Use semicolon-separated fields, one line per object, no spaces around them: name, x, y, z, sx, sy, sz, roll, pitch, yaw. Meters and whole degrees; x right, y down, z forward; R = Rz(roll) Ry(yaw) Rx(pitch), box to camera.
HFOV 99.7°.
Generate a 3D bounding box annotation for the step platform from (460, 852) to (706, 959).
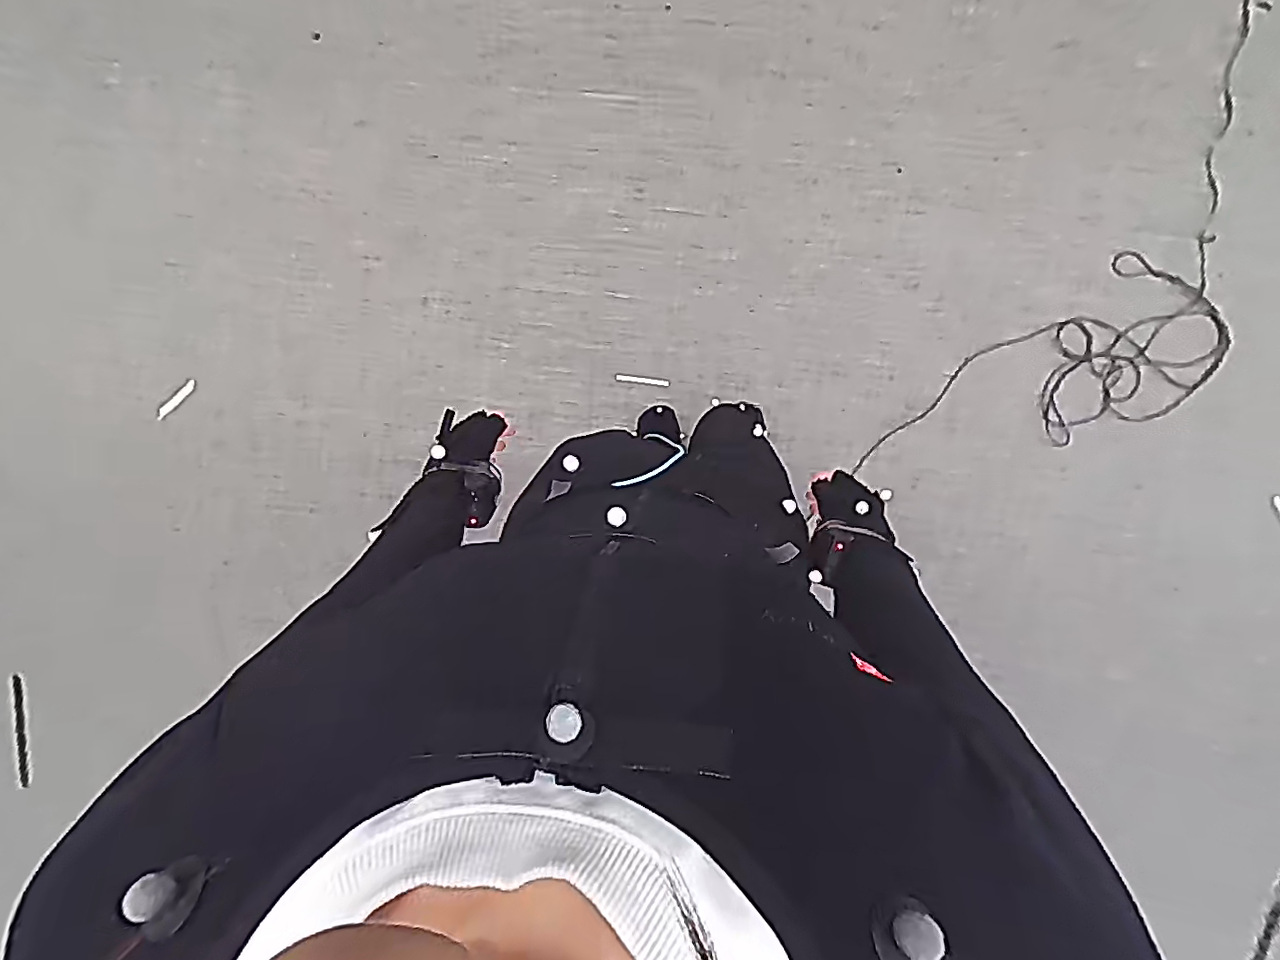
step platform;-0.158;1.301;1.536;0.684;0.204;0.286;6;97;5
